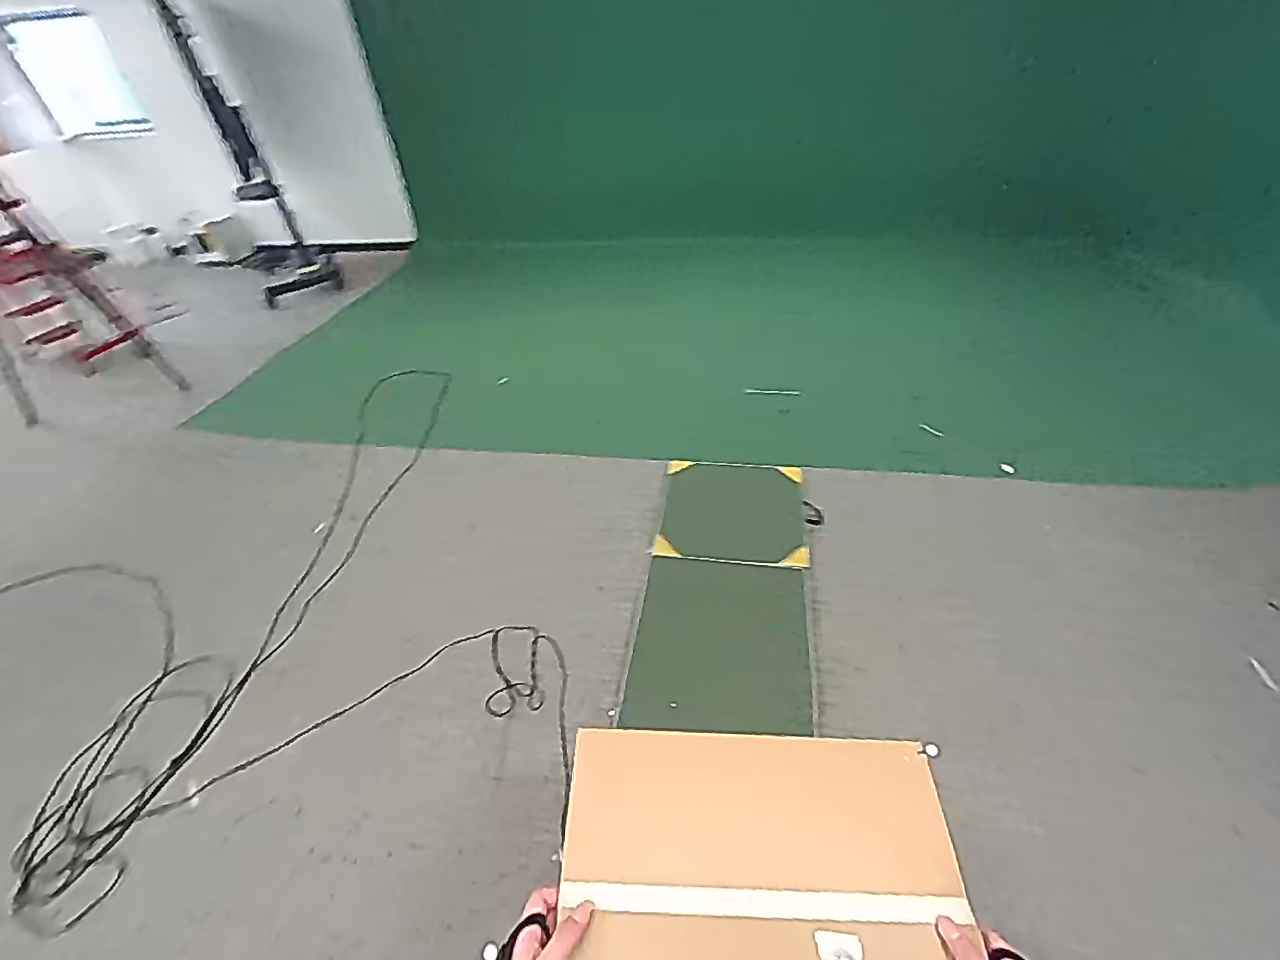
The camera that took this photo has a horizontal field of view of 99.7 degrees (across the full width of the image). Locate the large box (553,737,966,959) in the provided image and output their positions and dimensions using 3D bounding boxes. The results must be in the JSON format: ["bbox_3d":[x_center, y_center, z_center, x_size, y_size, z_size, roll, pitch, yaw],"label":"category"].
[{"bbox_3d":[0.112,0.525,0.654,0.408,0.320,0.320,1,49,0],"label":"large box"}]
